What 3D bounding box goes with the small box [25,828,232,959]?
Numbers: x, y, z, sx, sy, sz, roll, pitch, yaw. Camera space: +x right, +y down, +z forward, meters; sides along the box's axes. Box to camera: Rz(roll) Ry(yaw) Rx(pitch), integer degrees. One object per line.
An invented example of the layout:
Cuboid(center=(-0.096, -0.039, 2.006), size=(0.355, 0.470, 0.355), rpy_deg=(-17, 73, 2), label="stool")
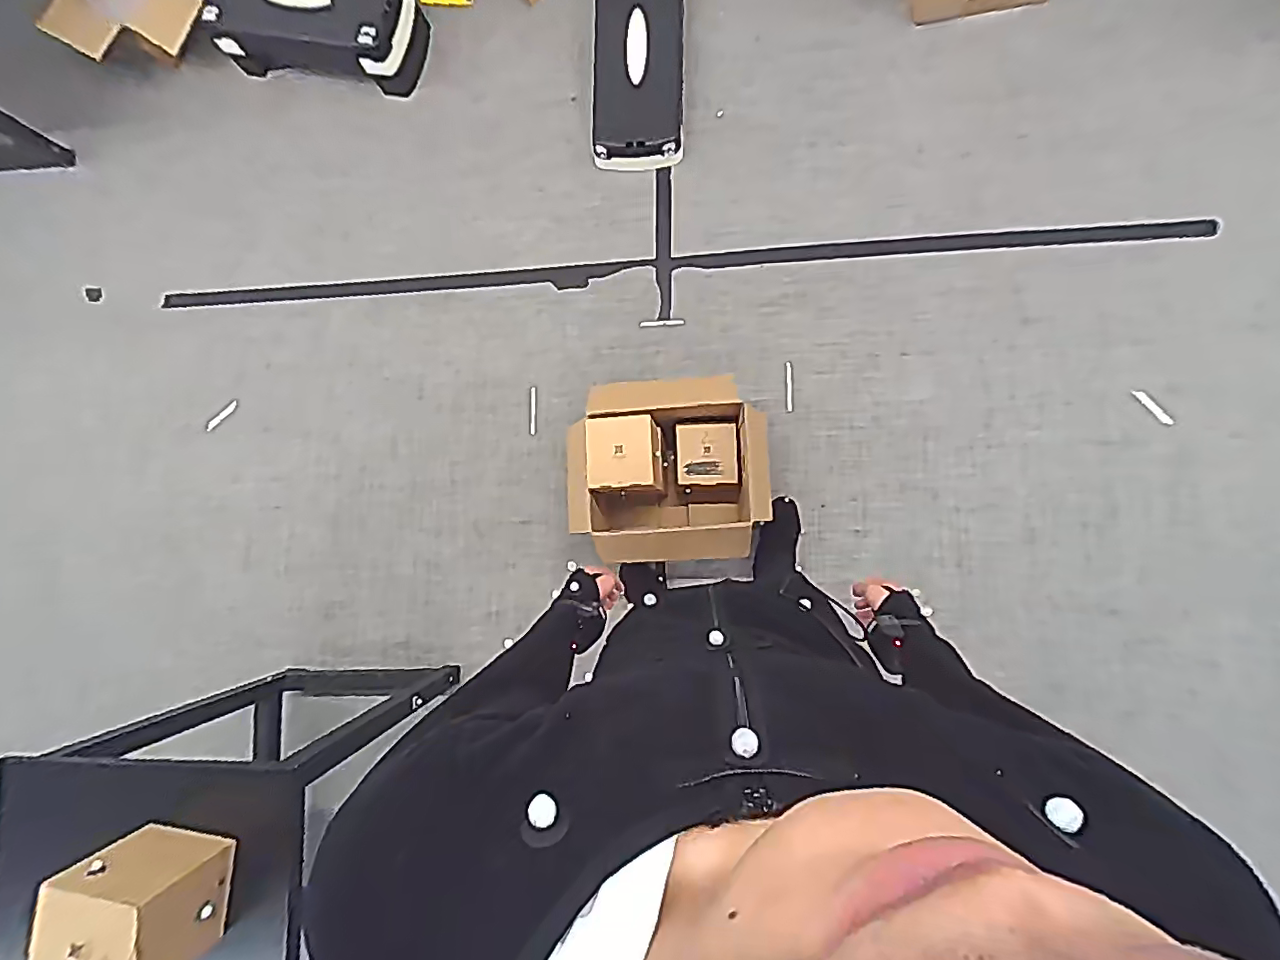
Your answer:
Cuboid(center=(-0.817, 0.700, 0.873), size=(0.179, 0.176, 0.168), rpy_deg=(6, 87, 7), label="small box")
